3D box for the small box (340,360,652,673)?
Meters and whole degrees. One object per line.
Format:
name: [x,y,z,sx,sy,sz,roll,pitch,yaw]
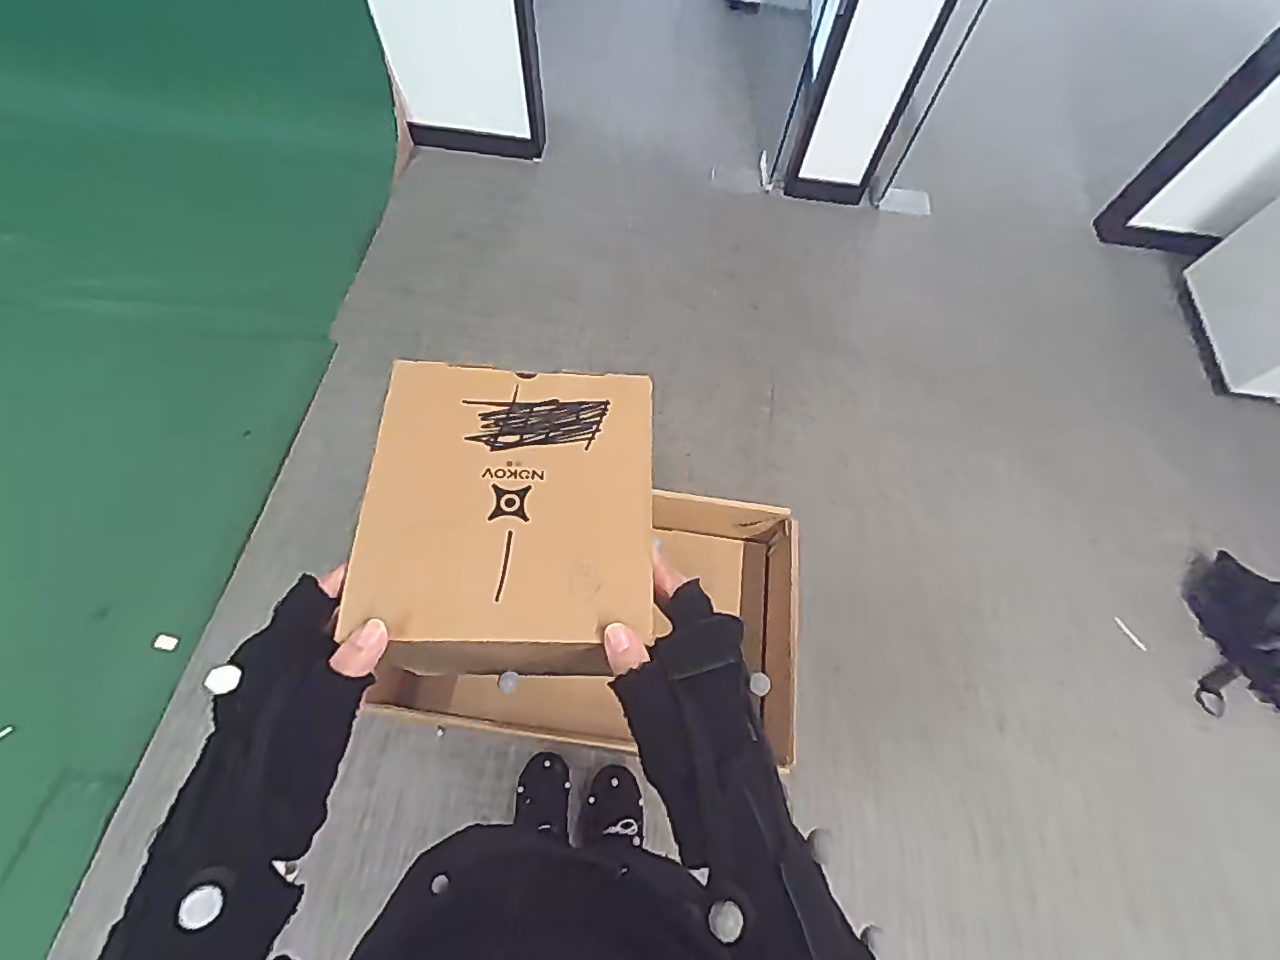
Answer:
small box: [-0.083,0.038,0.393,0.168,0.176,0.179,2,65,-5]
